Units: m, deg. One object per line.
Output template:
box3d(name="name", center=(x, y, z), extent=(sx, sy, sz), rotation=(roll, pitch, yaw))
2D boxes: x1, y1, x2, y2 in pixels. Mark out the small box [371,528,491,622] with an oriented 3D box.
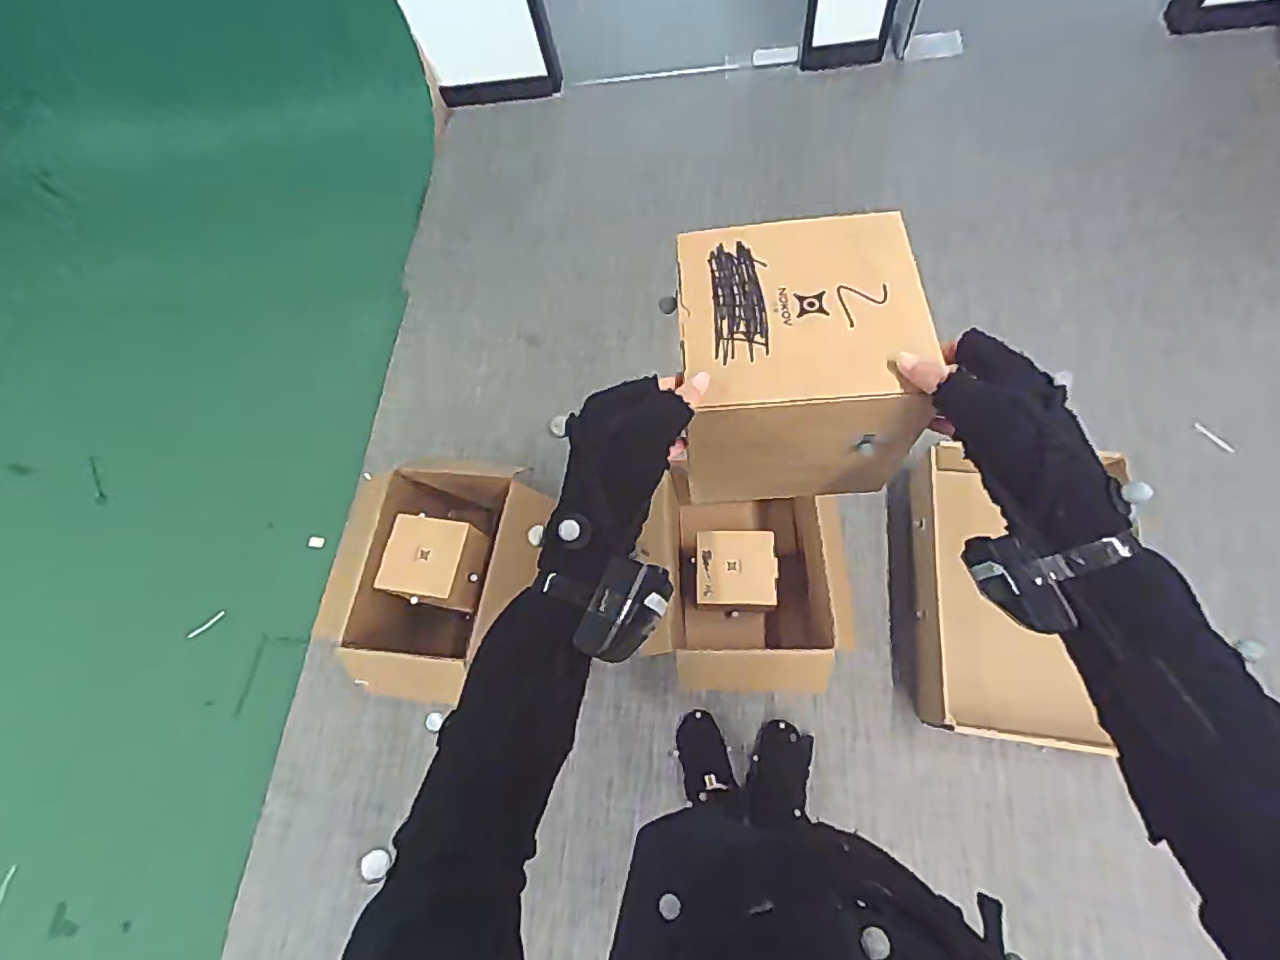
box3d(name="small box", center=(-0.459, 0.221, 1.223), extent=(0.179, 0.176, 0.168), rotation=(6, 68, 10))
